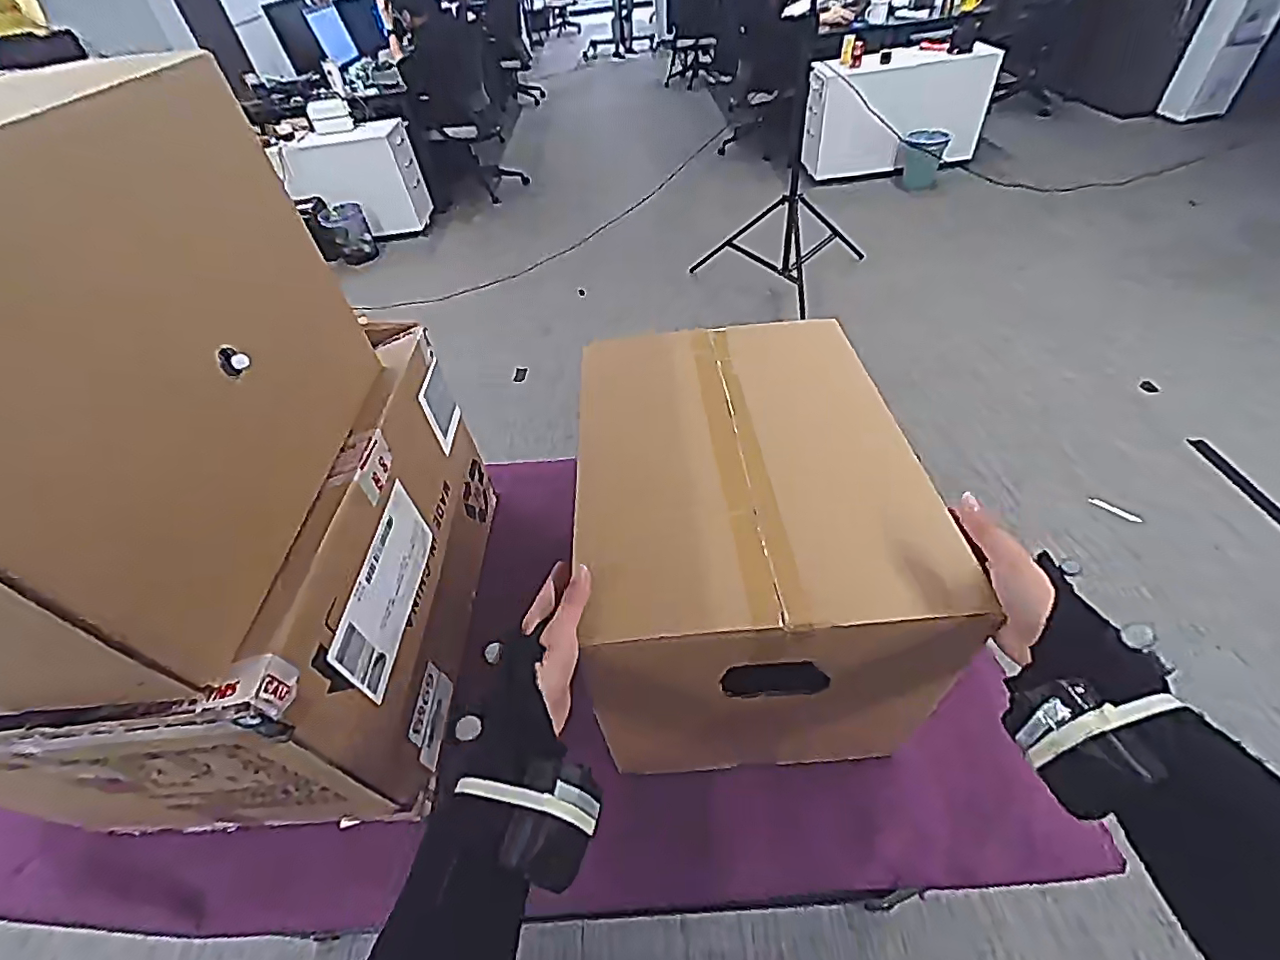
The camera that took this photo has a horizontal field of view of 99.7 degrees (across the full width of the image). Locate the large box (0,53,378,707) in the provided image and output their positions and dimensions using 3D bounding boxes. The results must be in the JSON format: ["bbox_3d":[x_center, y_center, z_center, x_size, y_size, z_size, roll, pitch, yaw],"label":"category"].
[{"bbox_3d":[-0.462,-0.083,0.418,0.320,0.320,0.408,-7,47,3],"label":"large box"}]
